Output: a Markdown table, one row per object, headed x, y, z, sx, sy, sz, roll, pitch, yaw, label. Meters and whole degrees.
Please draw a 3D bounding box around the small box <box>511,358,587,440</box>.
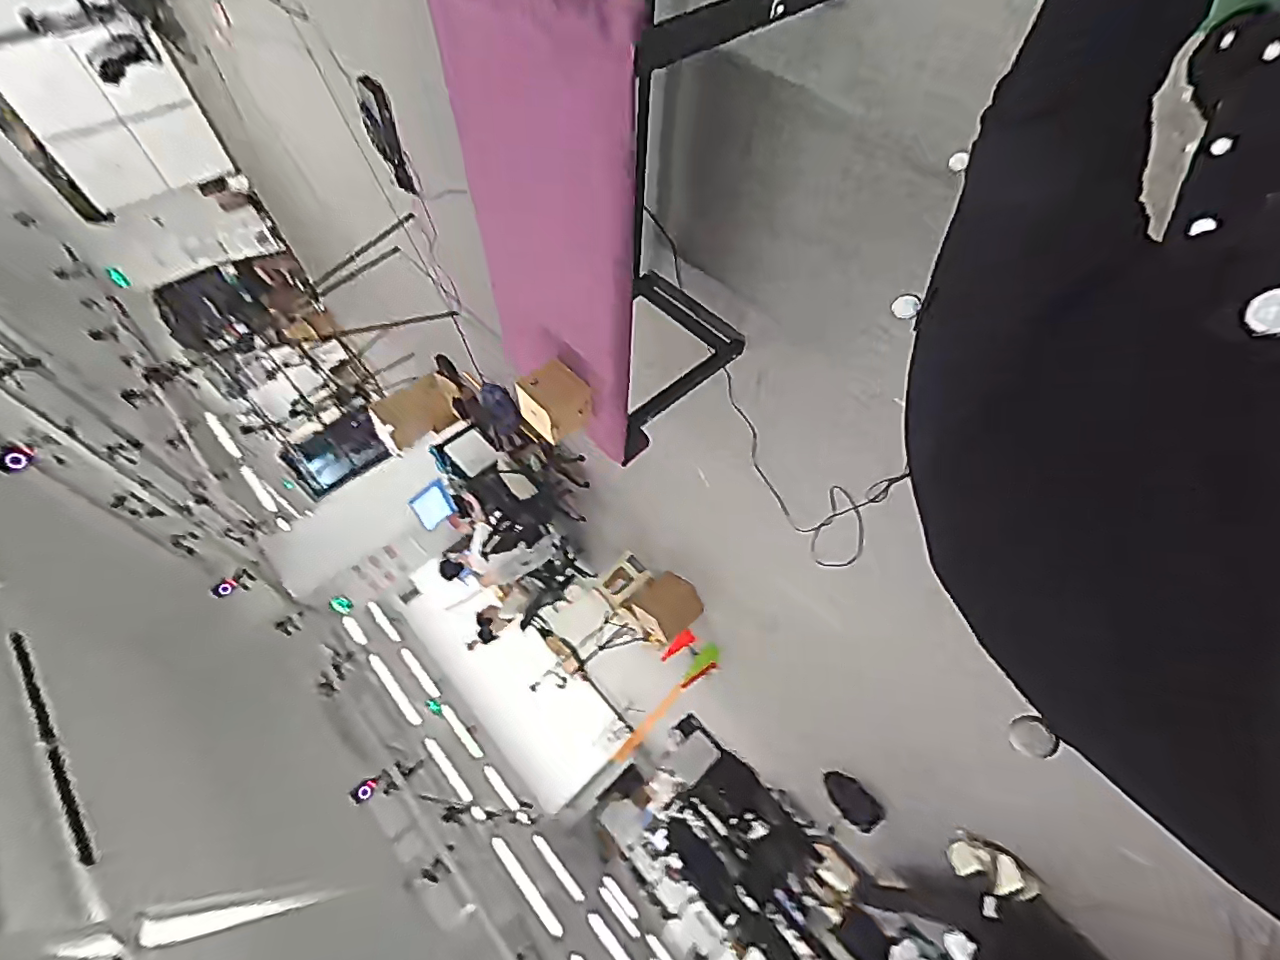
| x | y | z | sx | sy | sz | roll | pitch | yaw | label |
| --- | --- | --- | --- | --- | --- | --- | --- | --- | --- |
| -0.290 | -0.272 | 1.757 | 0.179 | 0.176 | 0.168 | 42 | 155 | 21 | small box |
